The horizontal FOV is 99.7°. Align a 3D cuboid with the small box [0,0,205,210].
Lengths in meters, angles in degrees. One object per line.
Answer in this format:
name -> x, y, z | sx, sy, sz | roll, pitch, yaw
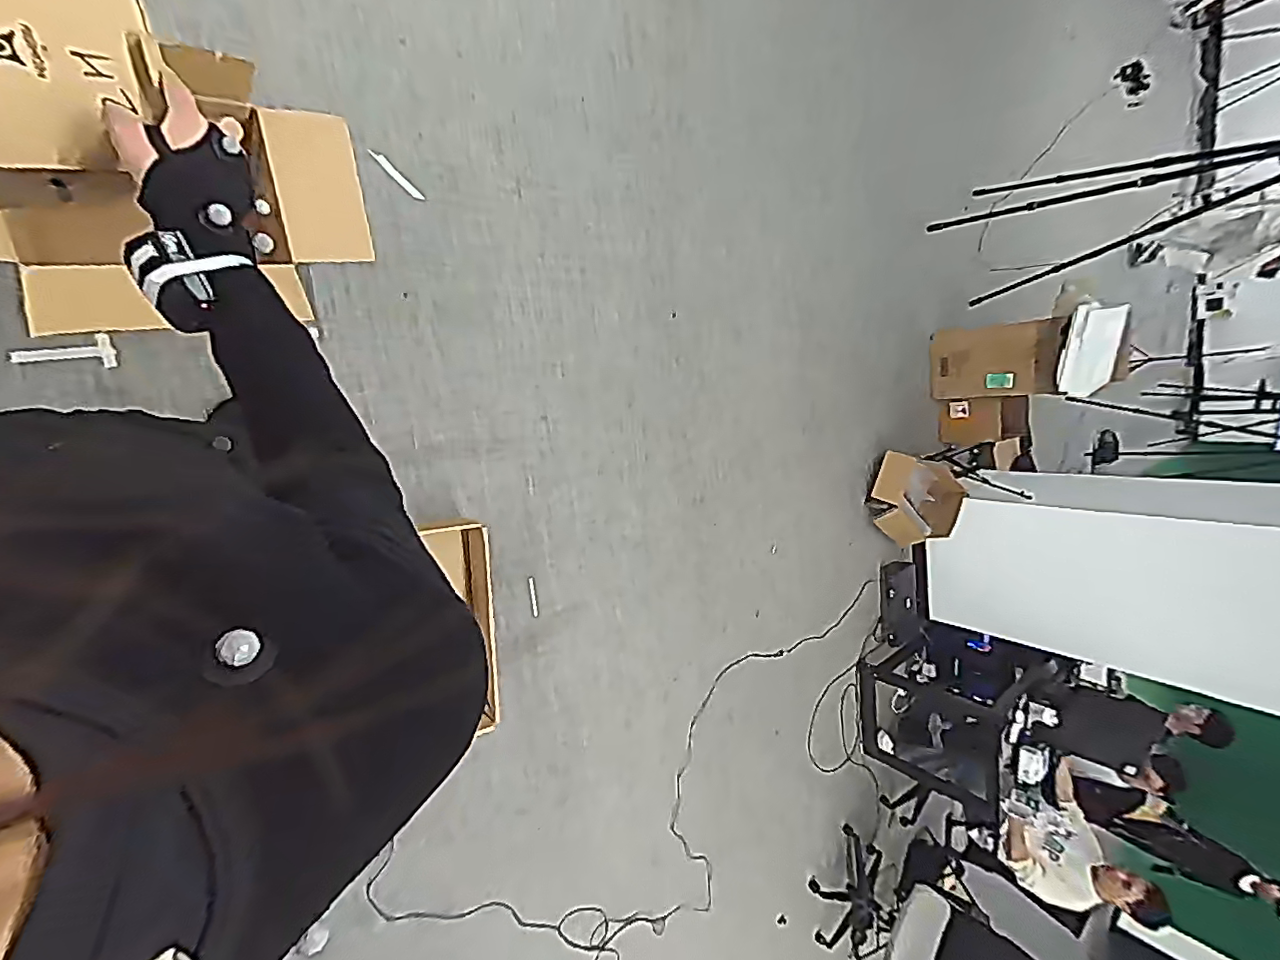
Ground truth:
small box -> -0.522, -0.344, 0.479 | 0.179, 0.176, 0.168 | -17, 112, -32
